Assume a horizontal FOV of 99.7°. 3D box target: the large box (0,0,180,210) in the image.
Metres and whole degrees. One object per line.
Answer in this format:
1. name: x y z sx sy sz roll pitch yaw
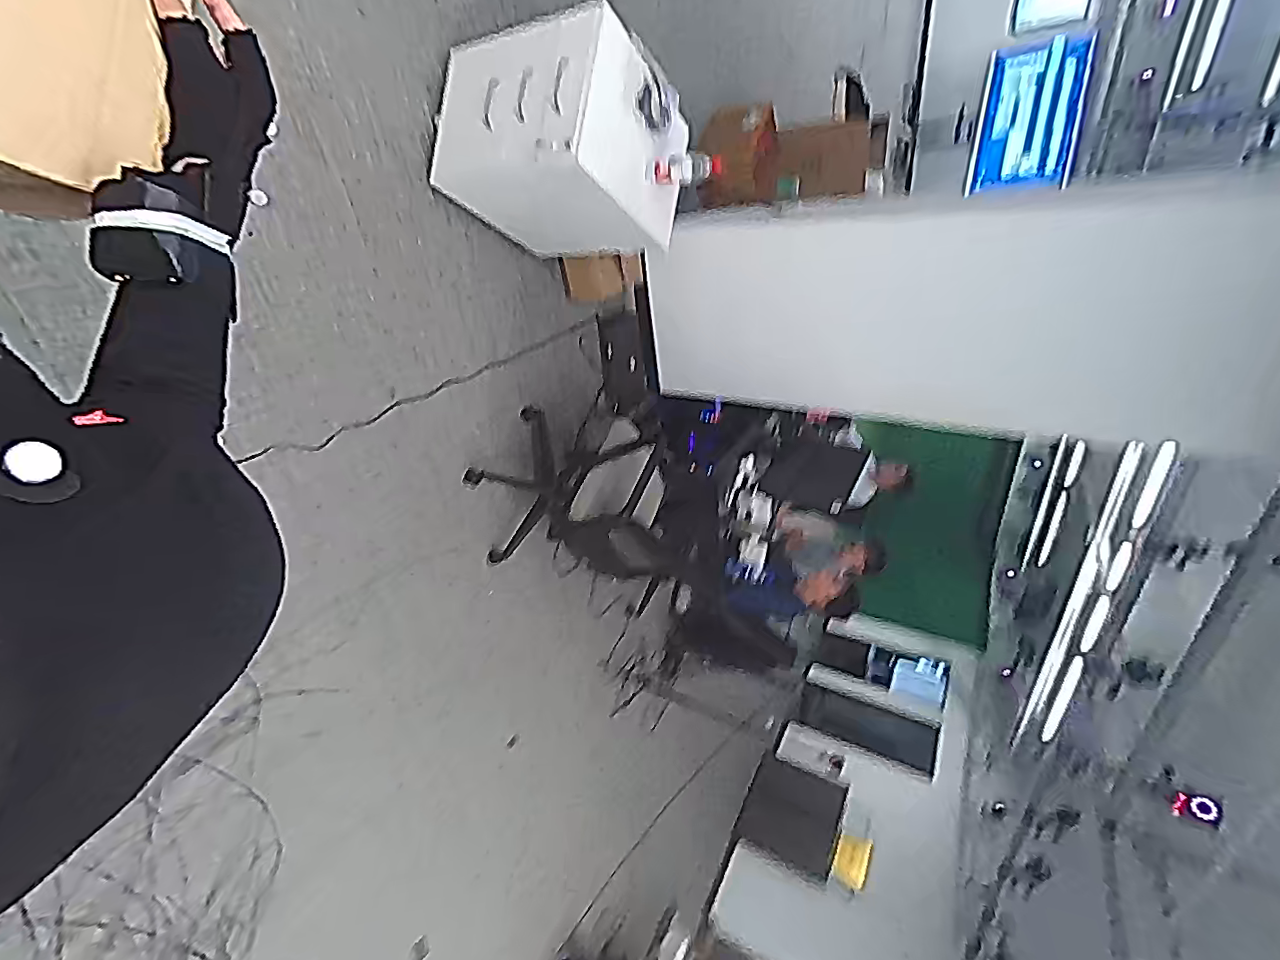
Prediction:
1. large box: -0.570 -0.397 0.306 0.408 0.320 0.320 4 101 -60
